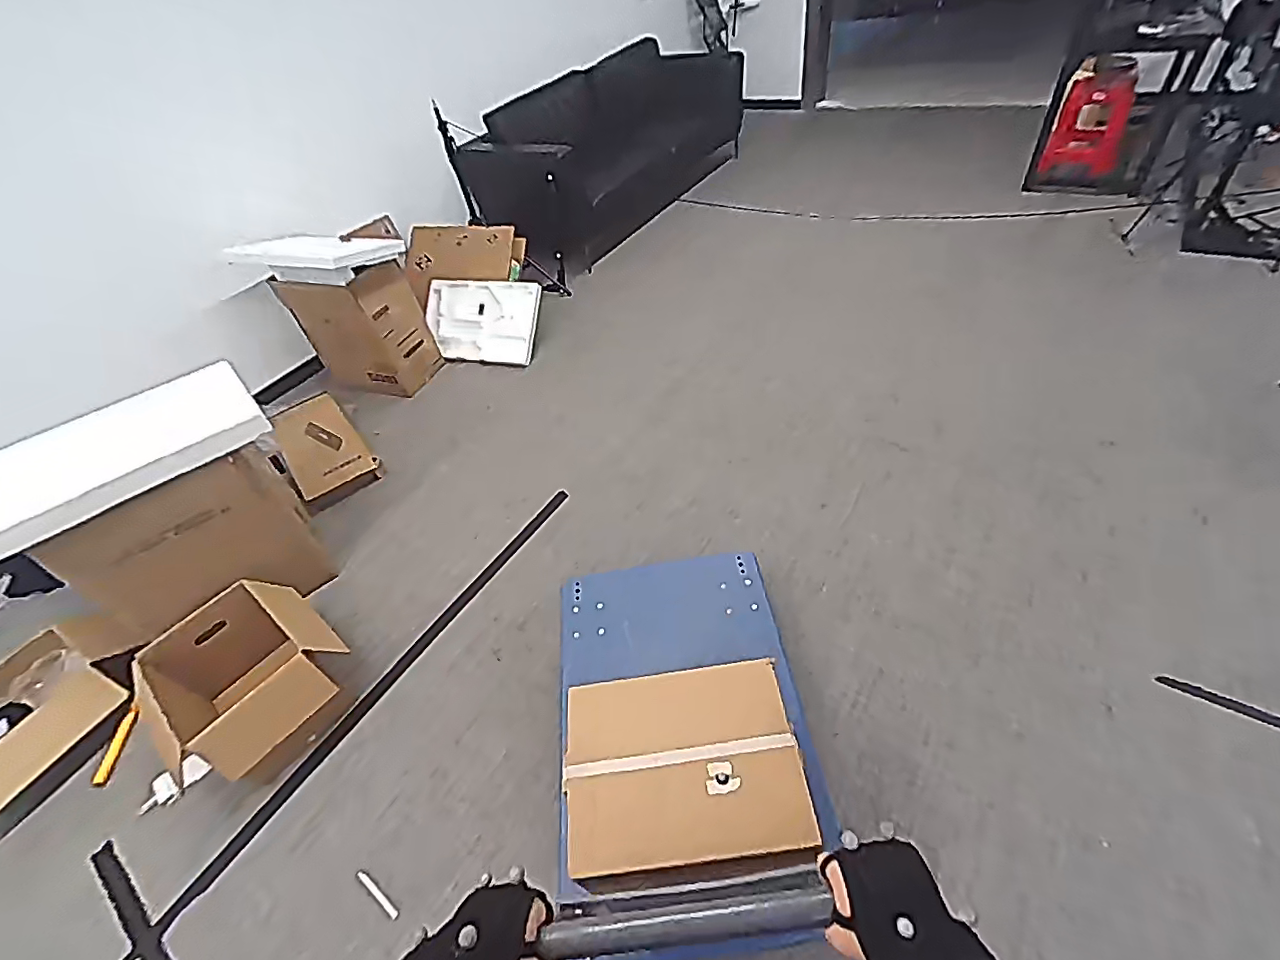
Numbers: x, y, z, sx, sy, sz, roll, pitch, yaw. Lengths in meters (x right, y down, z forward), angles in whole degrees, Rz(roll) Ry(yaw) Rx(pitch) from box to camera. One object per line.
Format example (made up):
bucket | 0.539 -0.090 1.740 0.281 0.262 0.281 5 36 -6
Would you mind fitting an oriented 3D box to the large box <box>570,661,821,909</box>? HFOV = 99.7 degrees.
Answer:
large box | 0.090 0.597 1.055 0.408 0.320 0.320 -9 45 1
